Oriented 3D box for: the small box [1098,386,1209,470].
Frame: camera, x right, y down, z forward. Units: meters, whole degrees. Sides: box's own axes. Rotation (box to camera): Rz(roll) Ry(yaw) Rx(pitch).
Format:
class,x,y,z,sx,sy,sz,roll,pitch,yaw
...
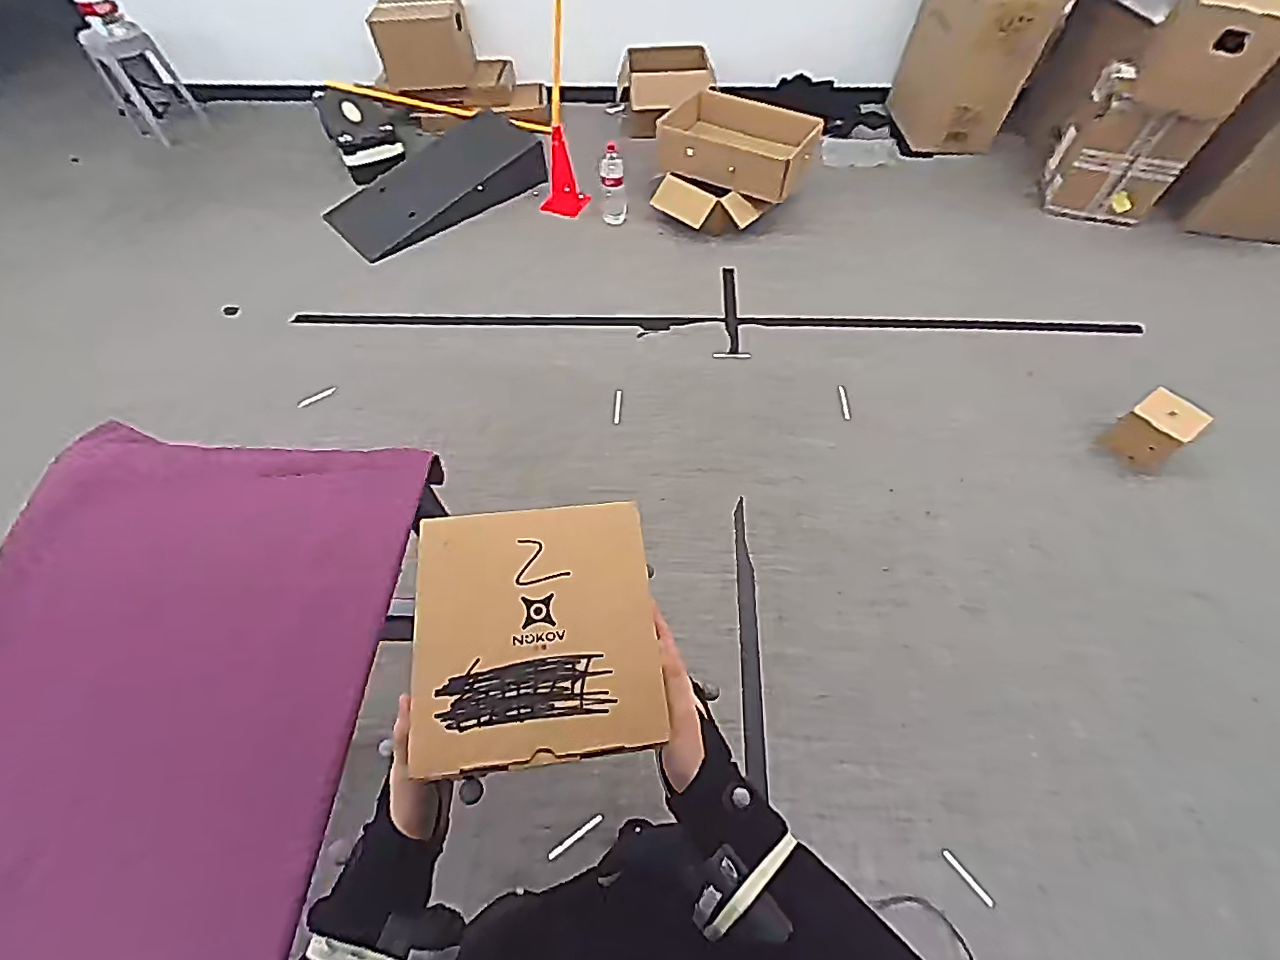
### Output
class,x,y,z,sx,sy,sz,roll,pitch,yaw
small box,1.635,-0.161,1.737,0.179,0.176,0.168,-31,62,-19
